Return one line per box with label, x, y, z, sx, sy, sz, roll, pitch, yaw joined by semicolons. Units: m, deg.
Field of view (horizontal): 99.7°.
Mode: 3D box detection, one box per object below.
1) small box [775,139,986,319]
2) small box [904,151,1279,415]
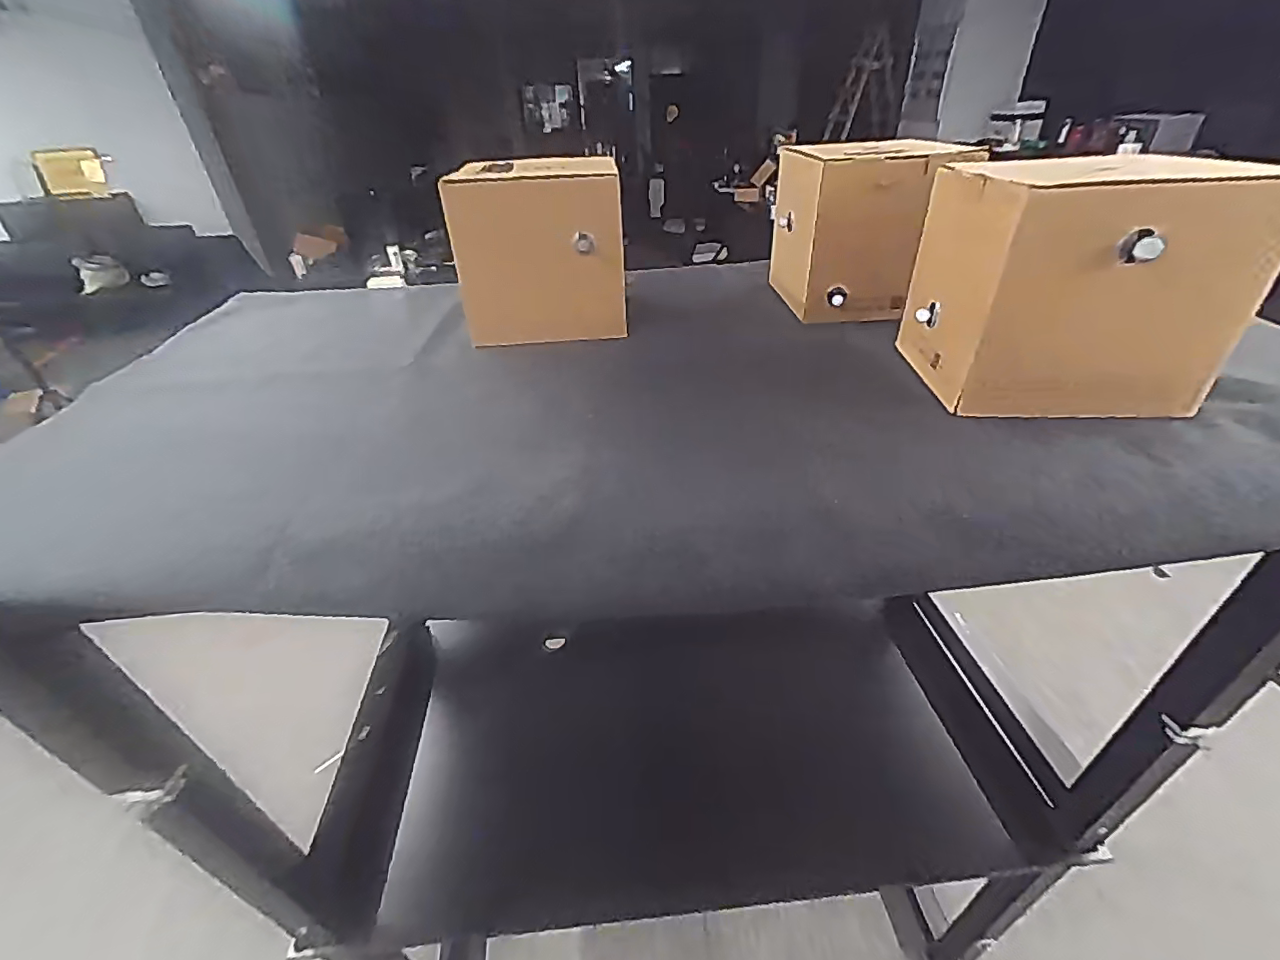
small box;0.265;-0.297;0.645;0.168;0.176;0.179;-3;34;0
small box;0.343;-0.160;0.440;0.179;0.176;0.168;0;33;7
